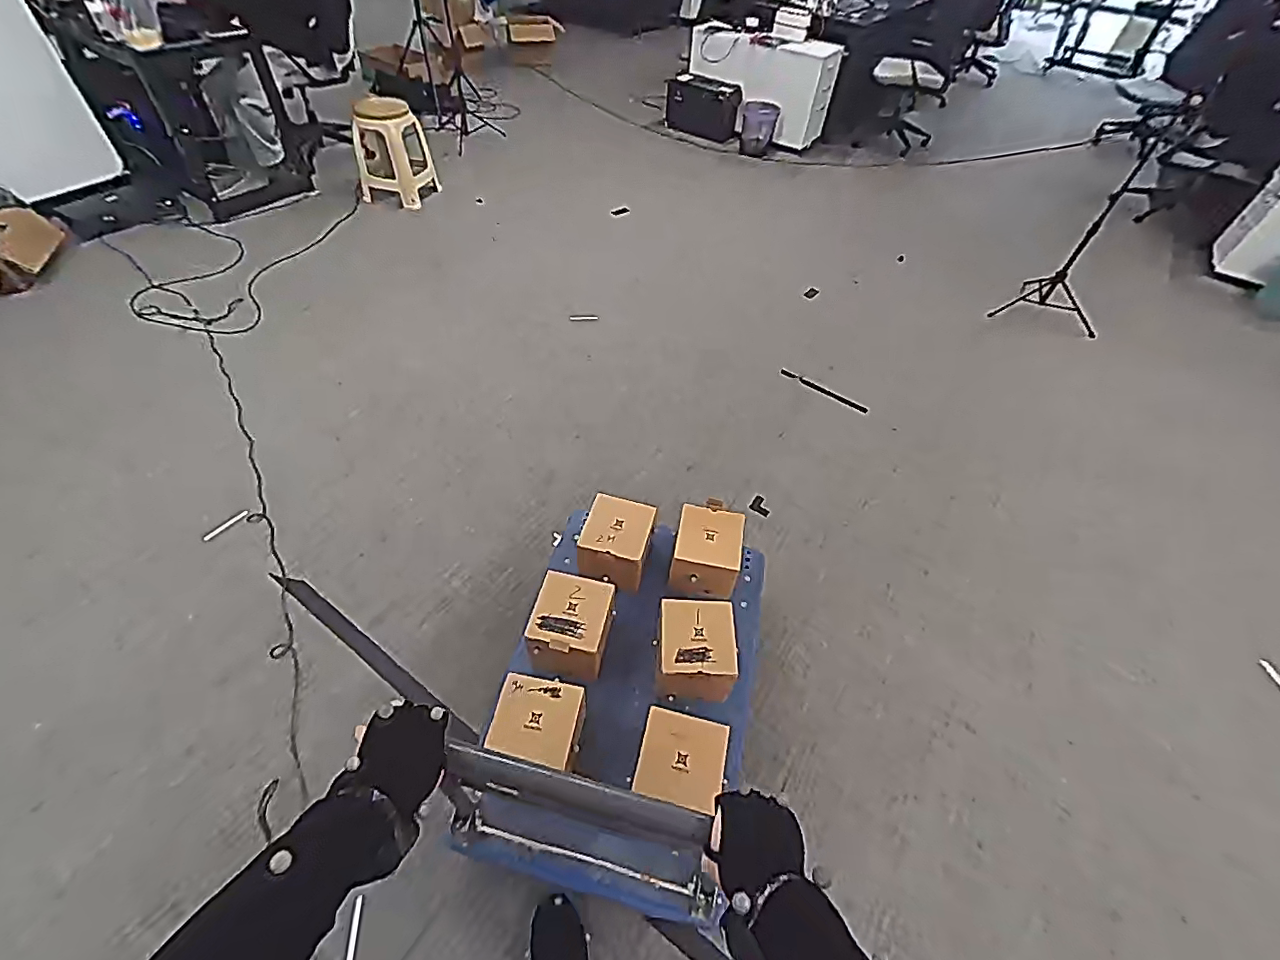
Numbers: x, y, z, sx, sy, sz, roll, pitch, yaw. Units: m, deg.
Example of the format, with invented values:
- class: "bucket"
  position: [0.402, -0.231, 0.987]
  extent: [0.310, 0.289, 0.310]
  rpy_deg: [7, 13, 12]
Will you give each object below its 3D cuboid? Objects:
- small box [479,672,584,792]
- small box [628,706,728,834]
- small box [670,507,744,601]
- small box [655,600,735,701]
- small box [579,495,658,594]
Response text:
- class: "small box"
  position: [-0.215, 0.533, 1.134]
  extent: [0.168, 0.176, 0.179]
  rpy_deg: [11, 51, 4]
- class: "small box"
  position: [0.074, 0.597, 1.104]
  extent: [0.168, 0.176, 0.179]
  rpy_deg: [14, 50, 7]
- class: "small box"
  position: [0.175, 0.201, 1.443]
  extent: [0.168, 0.176, 0.179]
  rpy_deg: [11, 50, 5]
- class: "small box"
  position: [0.125, 0.404, 1.268]
  extent: [0.168, 0.176, 0.179]
  rpy_deg: [4, 49, -1]
- class: "small box"
  position: [-0.059, 0.174, 1.444]
  extent: [0.168, 0.176, 0.179]
  rpy_deg: [14, 51, 8]
